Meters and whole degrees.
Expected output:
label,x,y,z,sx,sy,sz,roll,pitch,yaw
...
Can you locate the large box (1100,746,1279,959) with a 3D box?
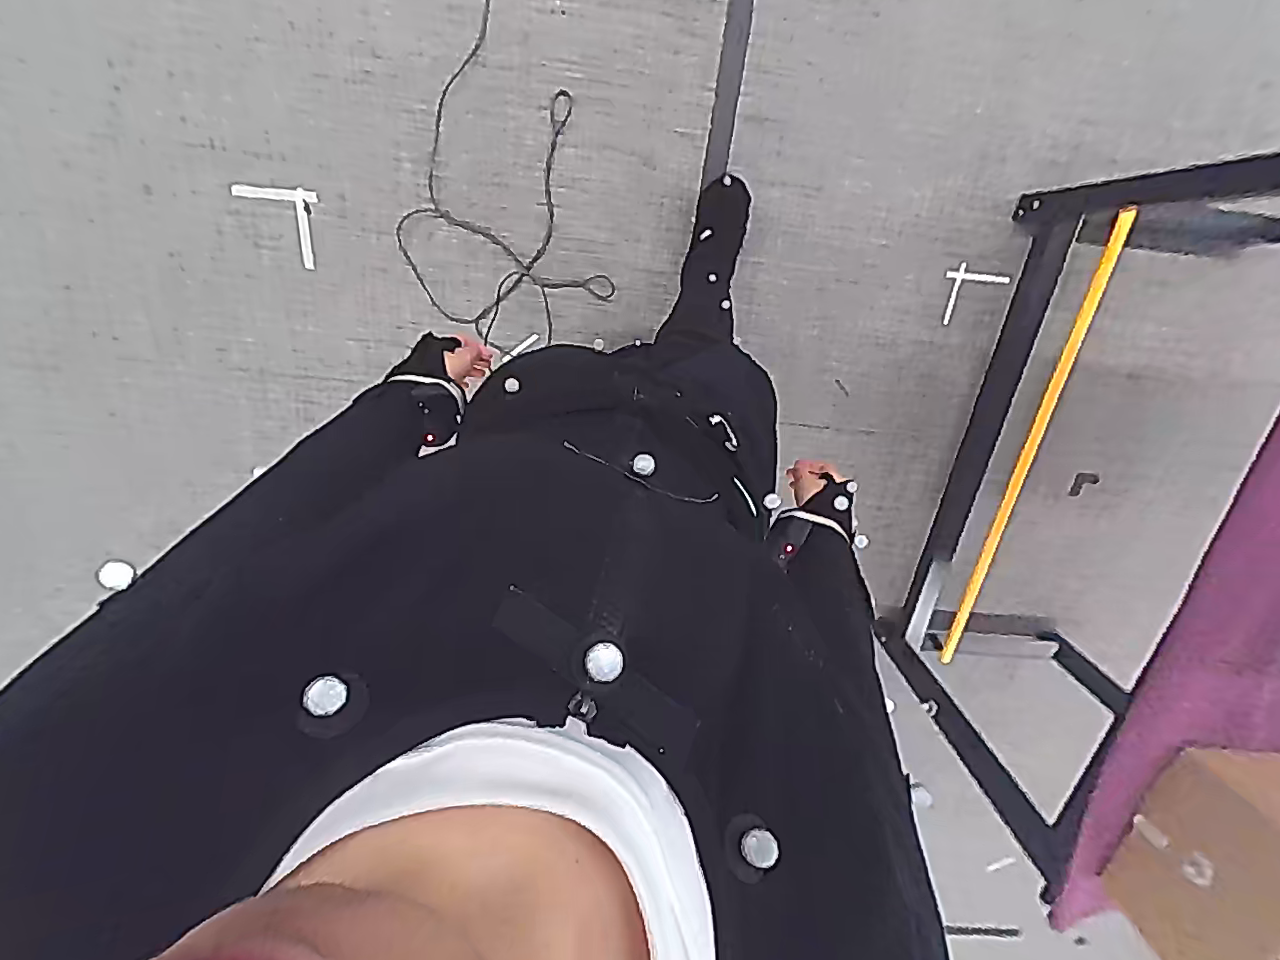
label,x,y,z,sx,sy,sz,roll,pitch,yaw
large box,0.982,0.601,0.735,0.408,0.320,0.320,5,112,-6
